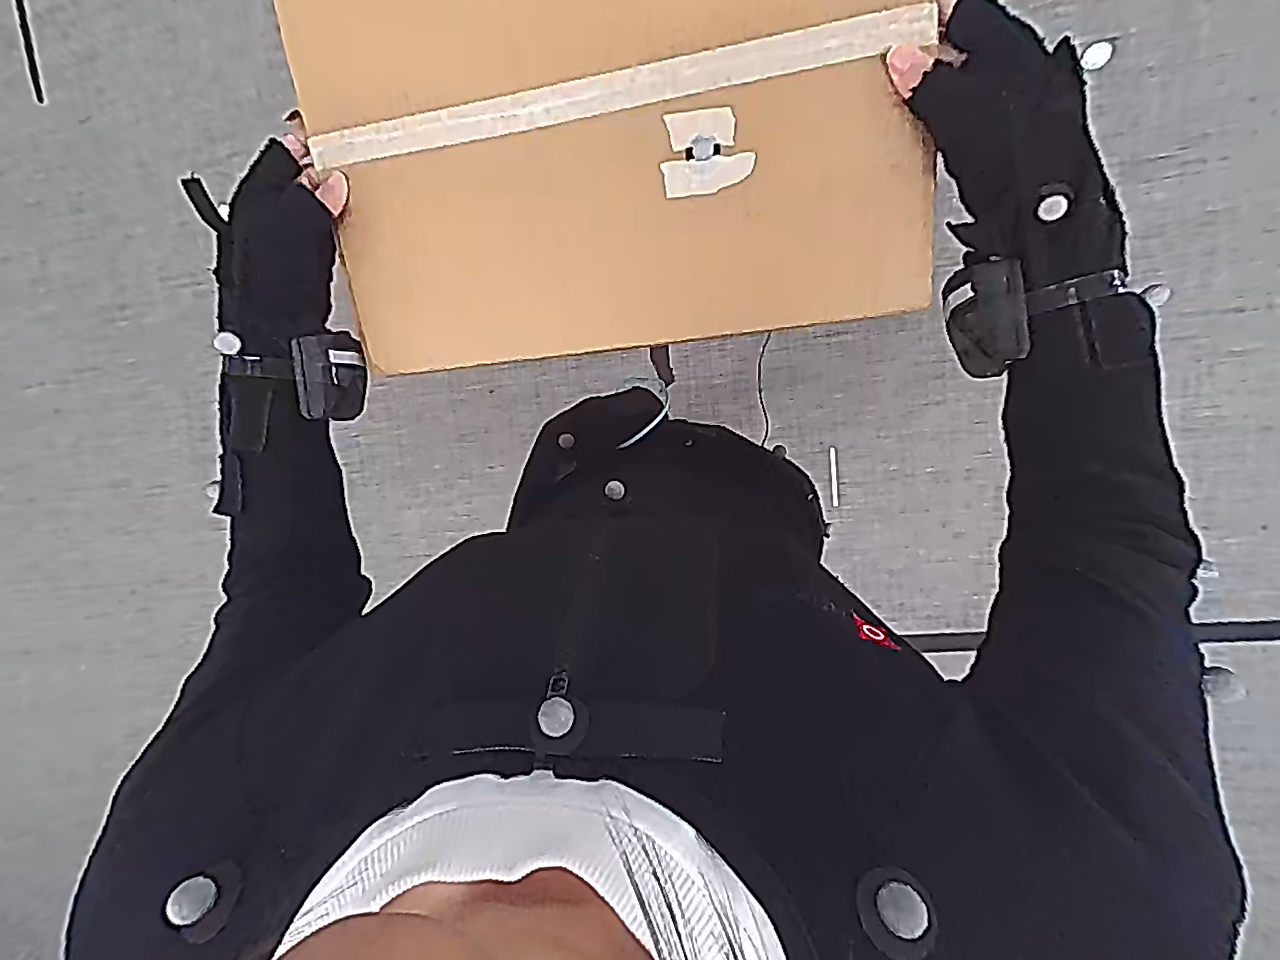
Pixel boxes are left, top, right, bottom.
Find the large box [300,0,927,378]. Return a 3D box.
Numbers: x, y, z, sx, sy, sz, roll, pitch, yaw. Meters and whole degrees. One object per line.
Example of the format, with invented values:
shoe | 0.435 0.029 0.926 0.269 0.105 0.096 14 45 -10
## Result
large box | -0.005 -0.287 0.502 0.408 0.320 0.320 -6 105 9
